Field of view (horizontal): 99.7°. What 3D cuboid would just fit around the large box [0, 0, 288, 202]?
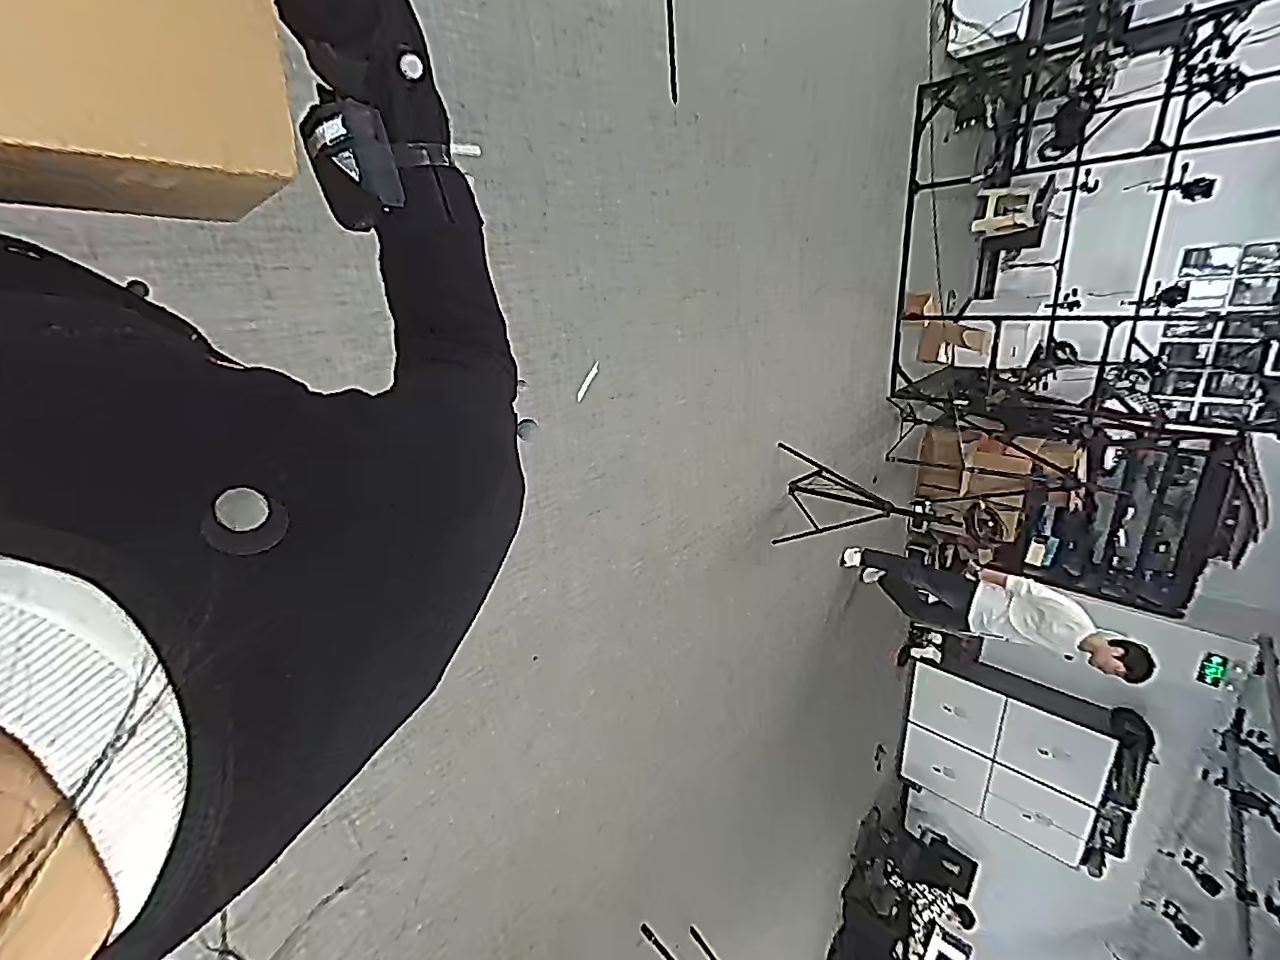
[{"bbox_3d":[-0.464,-0.337,0.264,0.408,0.320,0.320,-16,117,-40],"label":"large box"}]
